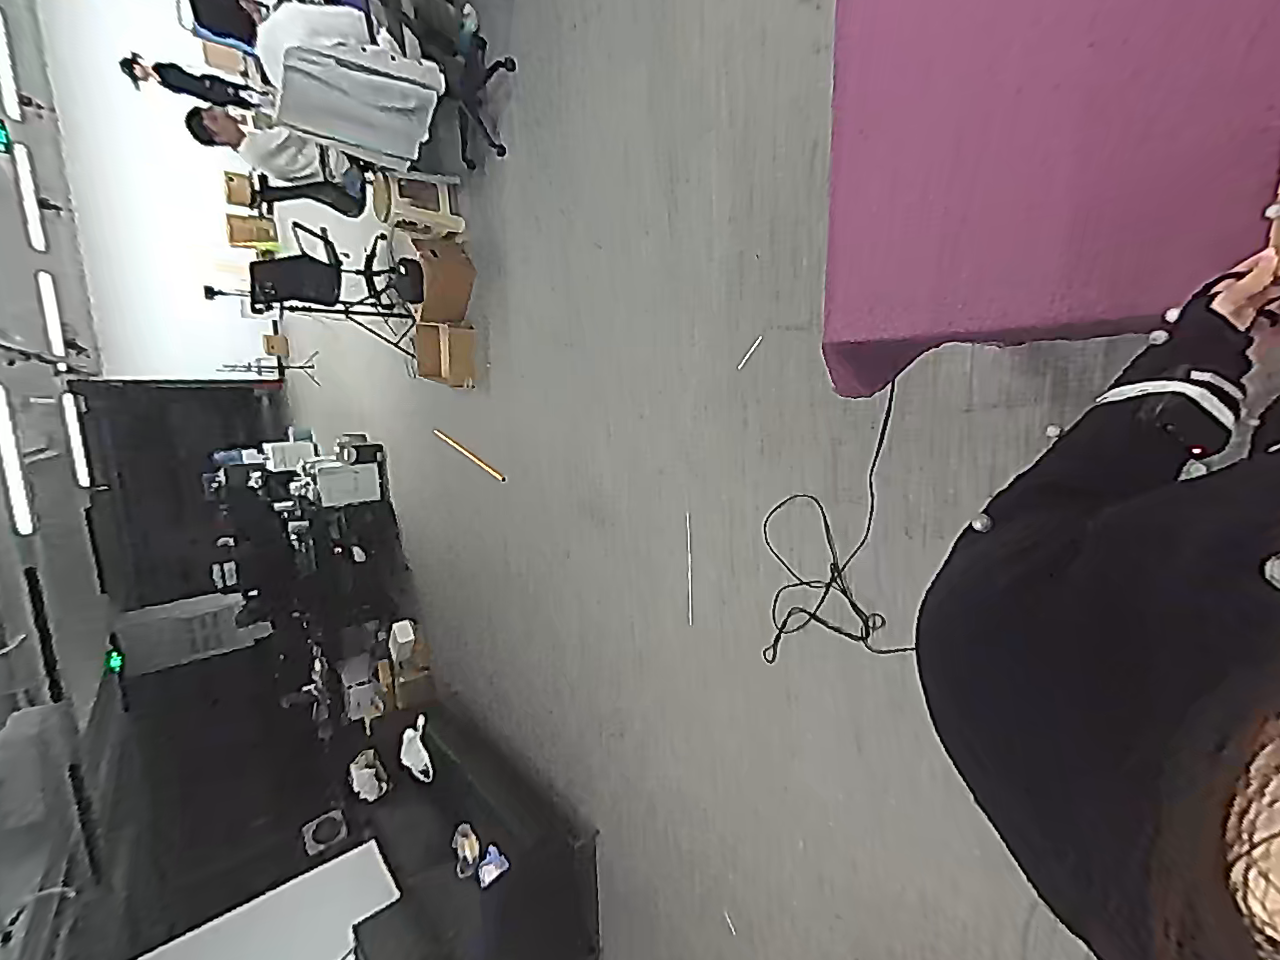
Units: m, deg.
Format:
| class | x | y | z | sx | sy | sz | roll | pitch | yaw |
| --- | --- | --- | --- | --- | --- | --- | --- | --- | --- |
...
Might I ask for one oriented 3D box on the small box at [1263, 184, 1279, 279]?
| class | x | y | z | sx | sy | sz | roll | pitch | yaw |
| --- | --- | --- | --- | --- | --- | --- | --- | --- | --- |
| small box | 0.587 | -0.244 | 0.376 | 0.179 | 0.176 | 0.168 | 9 | 103 | 40 |
